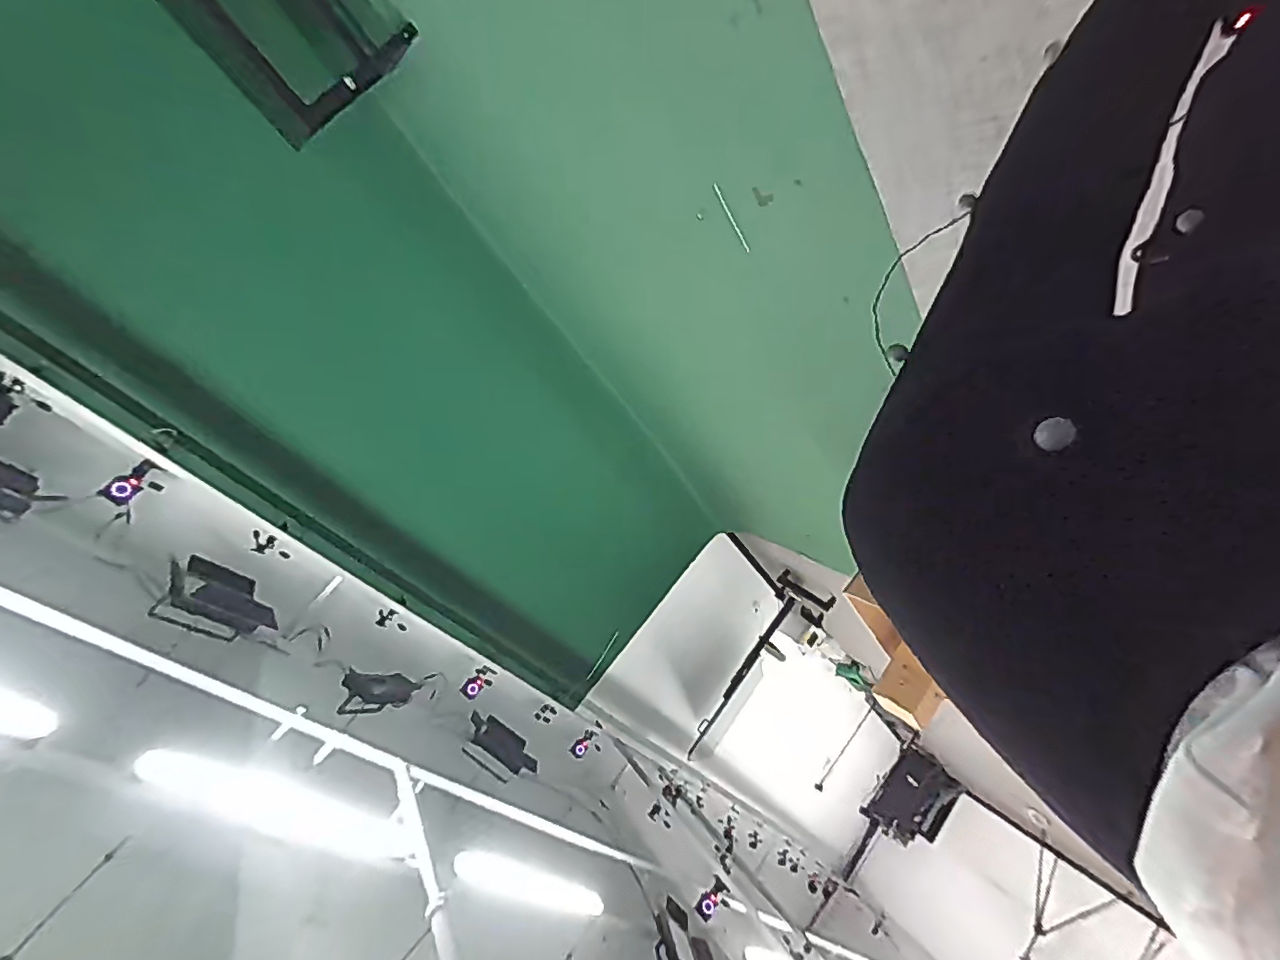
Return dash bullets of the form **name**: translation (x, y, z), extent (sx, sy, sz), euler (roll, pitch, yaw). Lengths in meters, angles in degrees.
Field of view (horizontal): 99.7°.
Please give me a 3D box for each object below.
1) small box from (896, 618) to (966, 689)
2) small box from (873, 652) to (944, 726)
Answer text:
- **small box**: translation (1.121, 0.661, 2.080), extent (0.168, 0.176, 0.179), euler (22, 158, 52)
- **small box**: translation (1.019, 0.784, 2.045), extent (0.168, 0.176, 0.179), euler (23, 158, 52)
